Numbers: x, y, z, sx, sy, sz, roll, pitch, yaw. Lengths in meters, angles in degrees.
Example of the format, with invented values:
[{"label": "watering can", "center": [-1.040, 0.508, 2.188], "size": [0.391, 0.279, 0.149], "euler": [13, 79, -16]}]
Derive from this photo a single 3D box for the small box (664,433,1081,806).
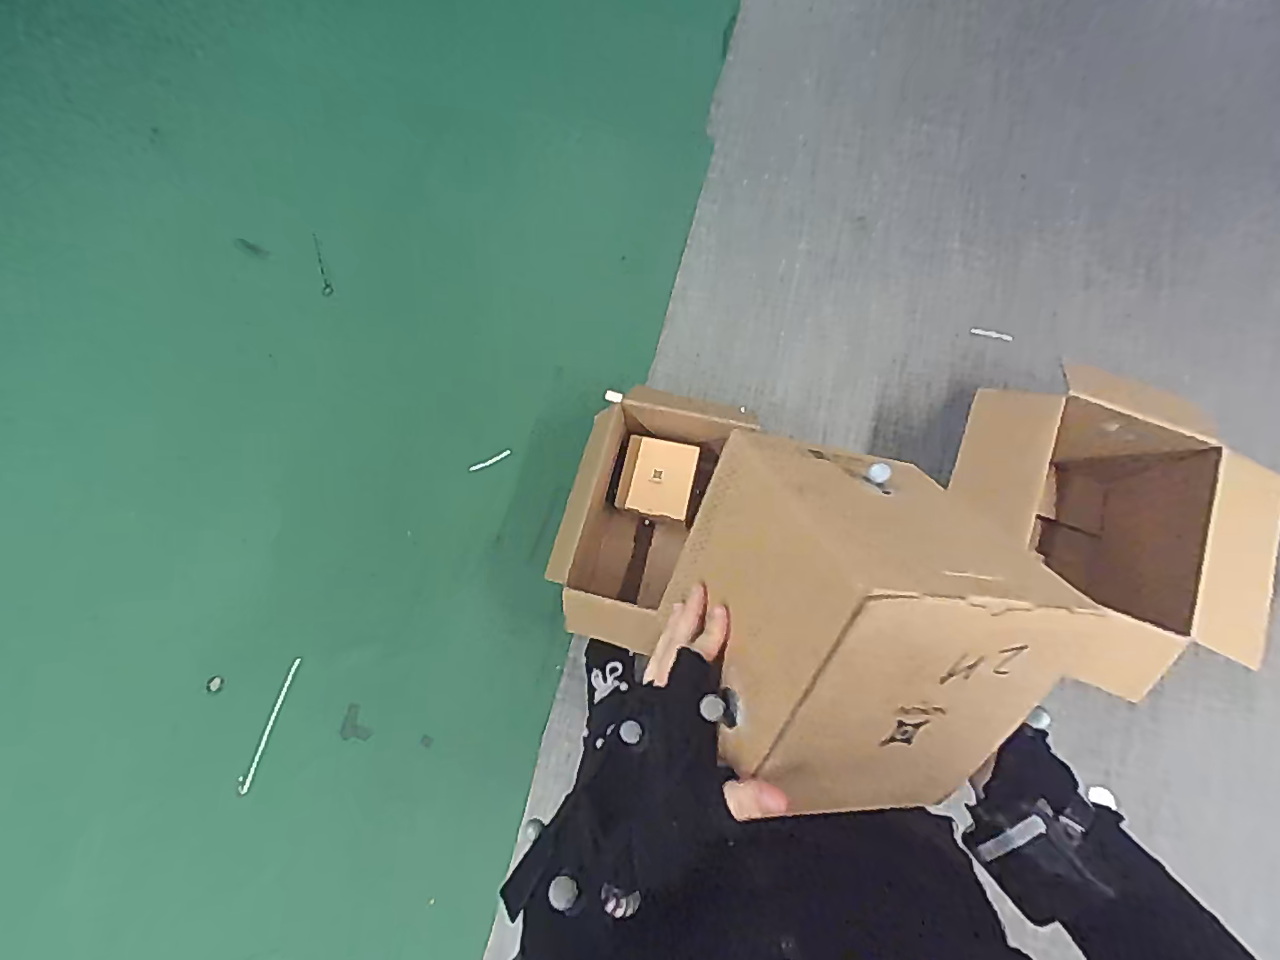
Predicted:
[{"label": "small box", "center": [0.126, 0.090, 0.374], "size": [0.168, 0.176, 0.179], "euler": [8, 117, -18]}]
